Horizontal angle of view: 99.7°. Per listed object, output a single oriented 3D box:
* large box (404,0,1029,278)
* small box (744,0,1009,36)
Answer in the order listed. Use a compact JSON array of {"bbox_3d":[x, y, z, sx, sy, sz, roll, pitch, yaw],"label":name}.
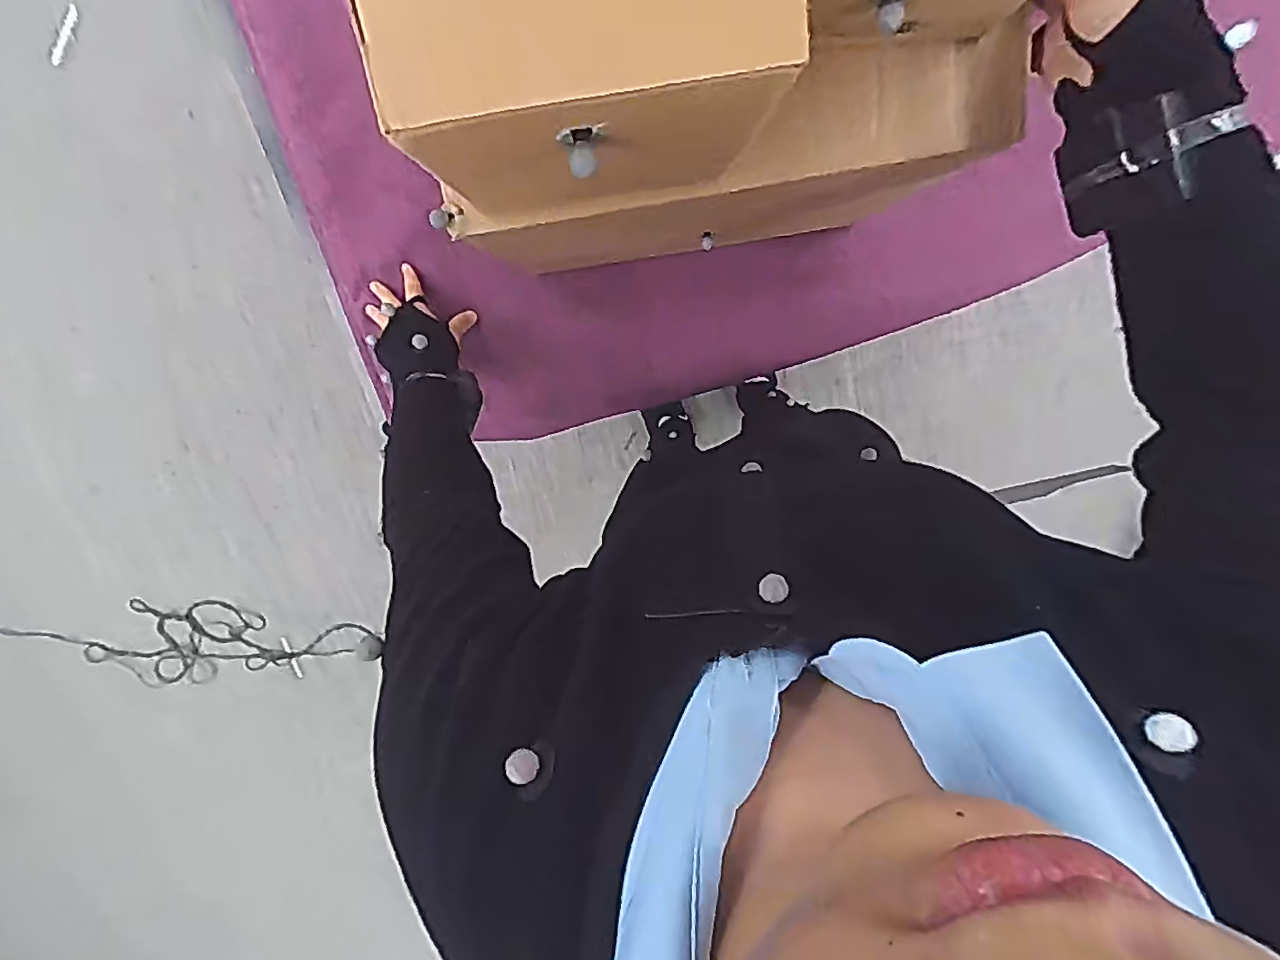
[{"bbox_3d":[0.044,-0.387,0.481,0.408,0.320,0.320,-9,104,3],"label":"large box"},{"bbox_3d":[0.137,-0.344,0.238,0.168,0.176,0.179,-2,106,2],"label":"small box"}]
